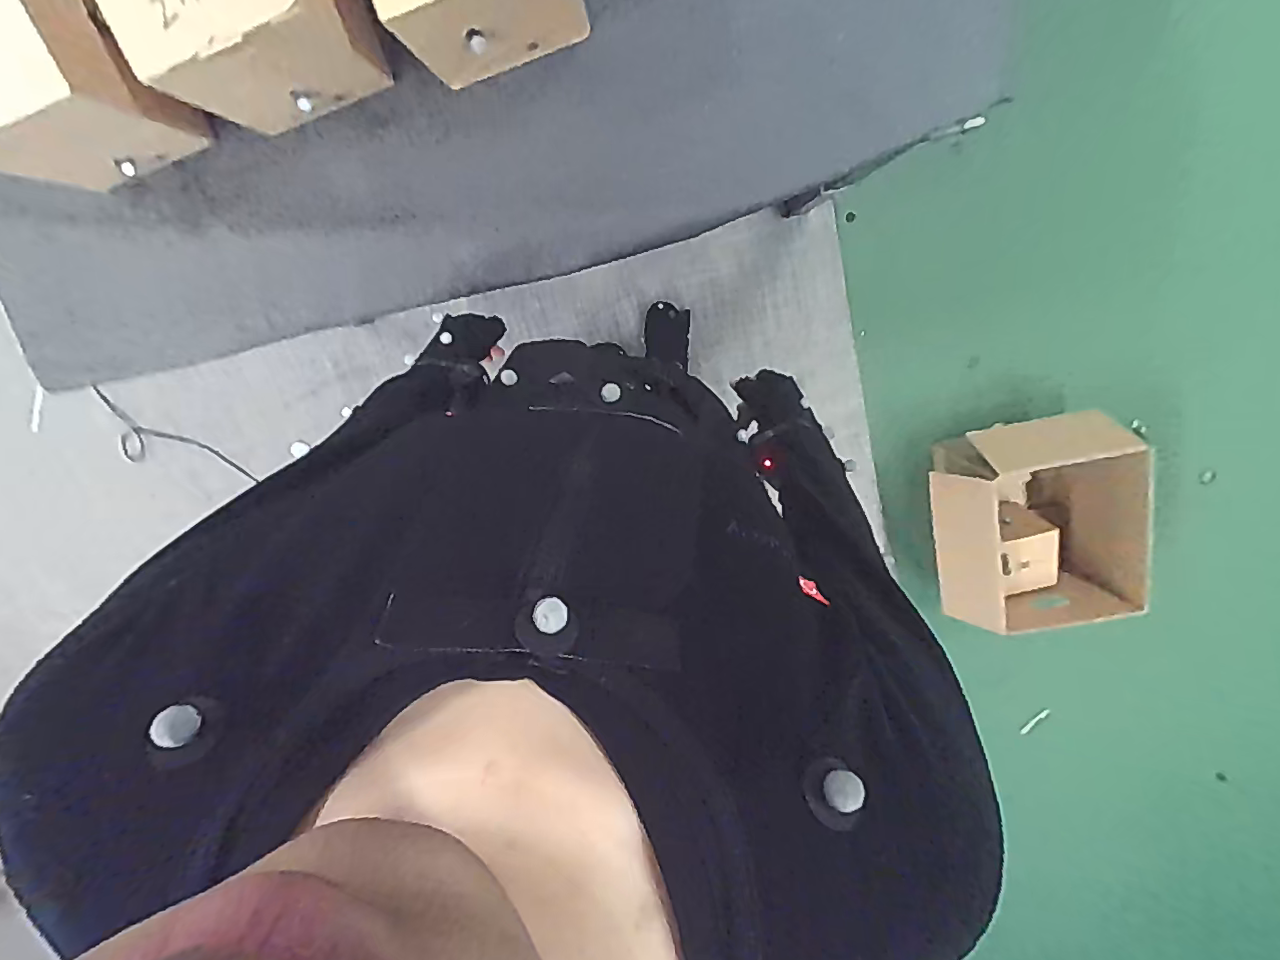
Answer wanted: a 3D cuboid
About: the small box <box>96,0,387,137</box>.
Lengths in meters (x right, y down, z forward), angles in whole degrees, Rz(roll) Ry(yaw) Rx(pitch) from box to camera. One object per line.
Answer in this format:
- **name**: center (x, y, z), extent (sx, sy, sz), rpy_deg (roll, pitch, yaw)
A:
- **small box**: center (-0.383, -0.469, 0.516), extent (0.168, 0.176, 0.179), rpy_deg (-16, 107, 8)
